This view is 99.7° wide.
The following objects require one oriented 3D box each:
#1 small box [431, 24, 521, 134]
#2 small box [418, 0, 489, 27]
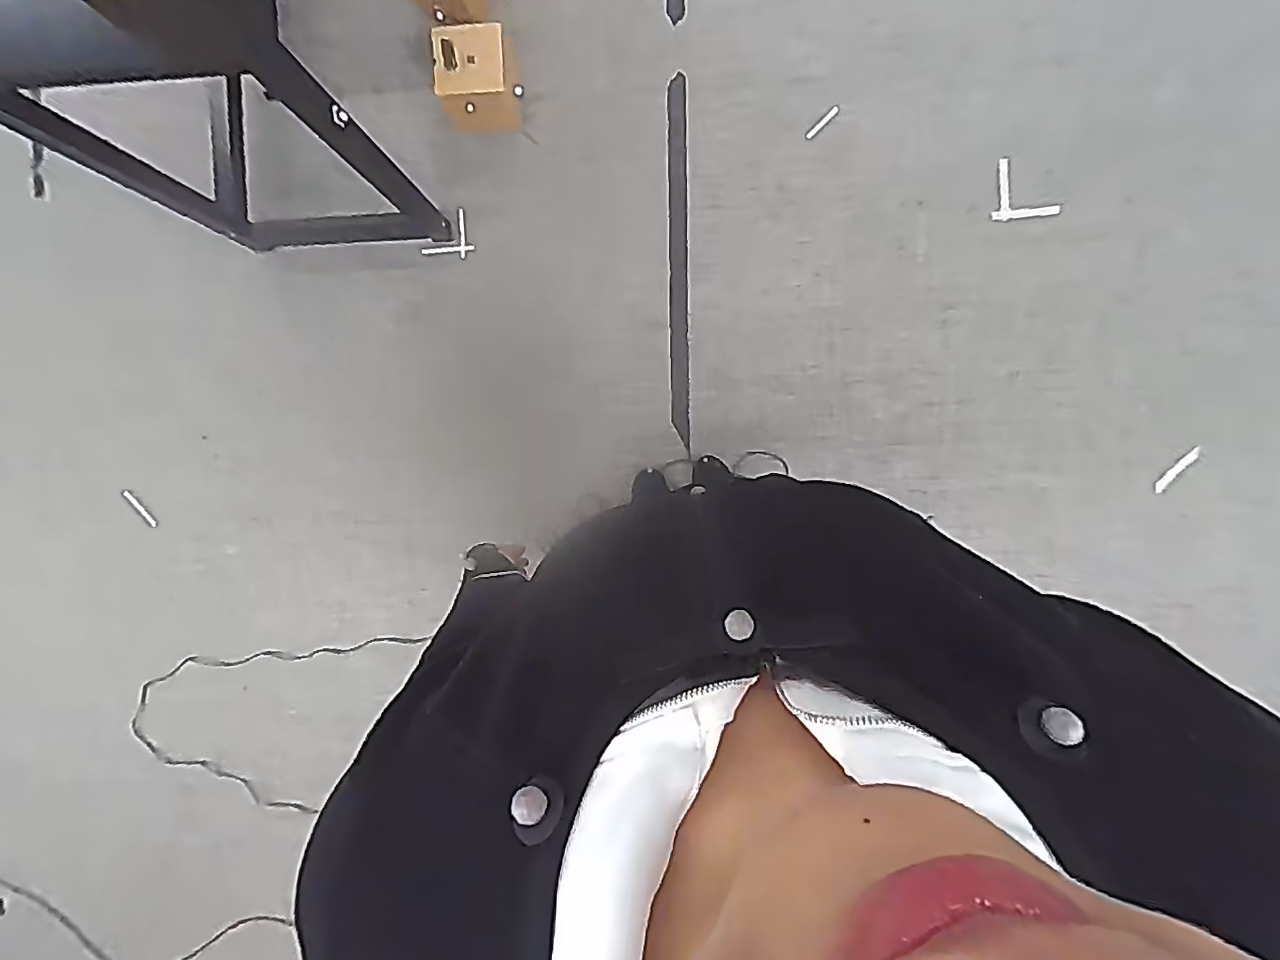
[{"bbox_3d":[-0.421,-1.034,1.408,0.179,0.176,0.168,-2,93,2],"label":"small box"},{"bbox_3d":[-0.495,-1.326,1.399,0.168,0.176,0.179,20,95,3],"label":"small box"}]
